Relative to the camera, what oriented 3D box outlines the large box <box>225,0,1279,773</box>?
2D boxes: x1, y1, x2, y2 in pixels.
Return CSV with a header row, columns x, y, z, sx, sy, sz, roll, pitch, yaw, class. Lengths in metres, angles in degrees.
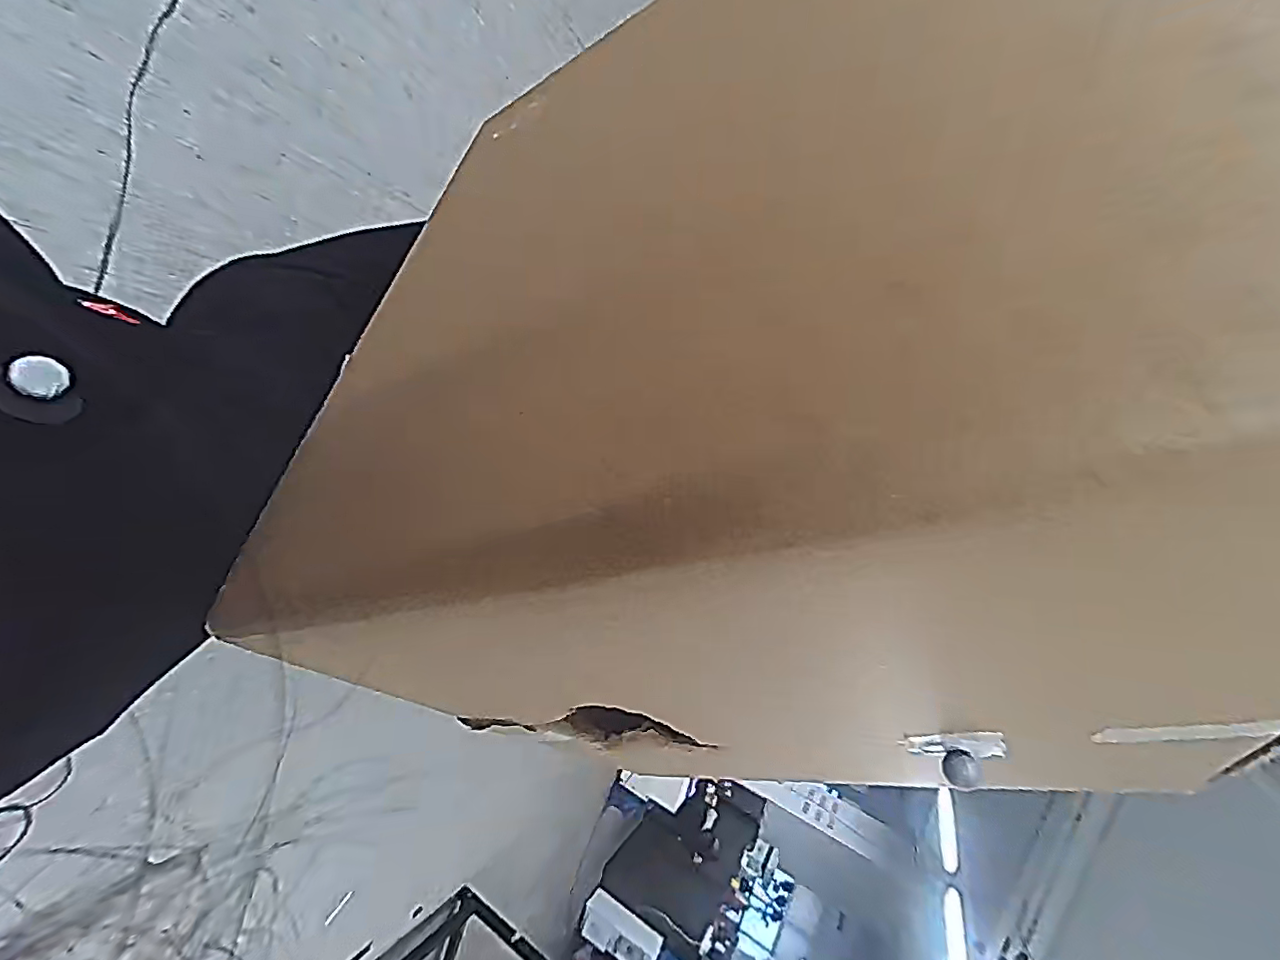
x,y,z,sx,sy,sz,roll,pitch,yaw,class
0.071,-0.068,0.341,0.320,0.320,0.408,48,38,-44,large box
